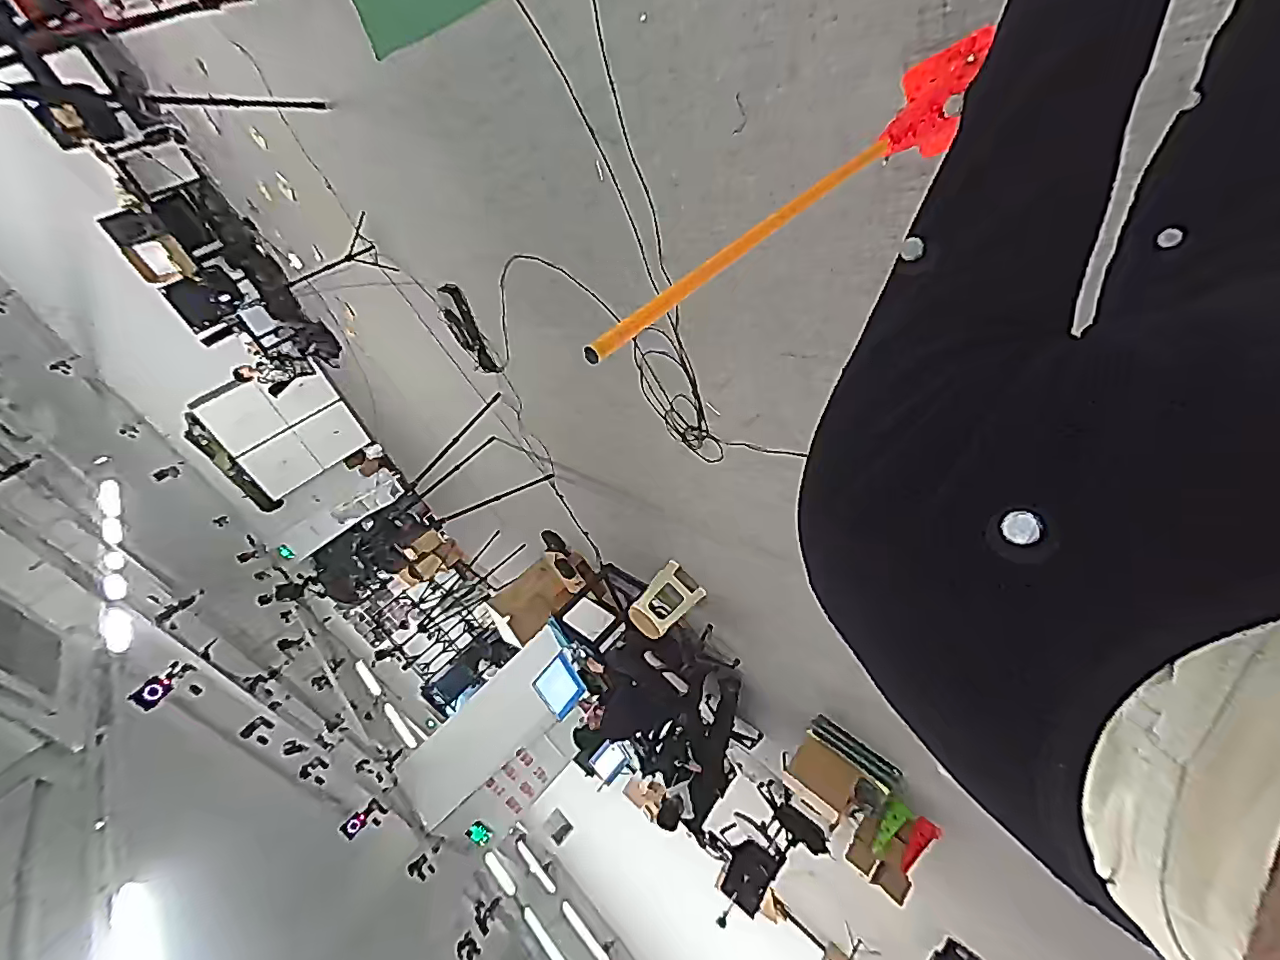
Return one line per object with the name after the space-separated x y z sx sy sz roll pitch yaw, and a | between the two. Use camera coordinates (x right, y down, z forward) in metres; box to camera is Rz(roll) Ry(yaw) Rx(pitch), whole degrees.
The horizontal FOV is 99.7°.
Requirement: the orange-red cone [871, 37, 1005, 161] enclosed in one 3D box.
0.601 -0.763 1.165 0.199 0.360 0.198 8 132 55 | orange-red cone
